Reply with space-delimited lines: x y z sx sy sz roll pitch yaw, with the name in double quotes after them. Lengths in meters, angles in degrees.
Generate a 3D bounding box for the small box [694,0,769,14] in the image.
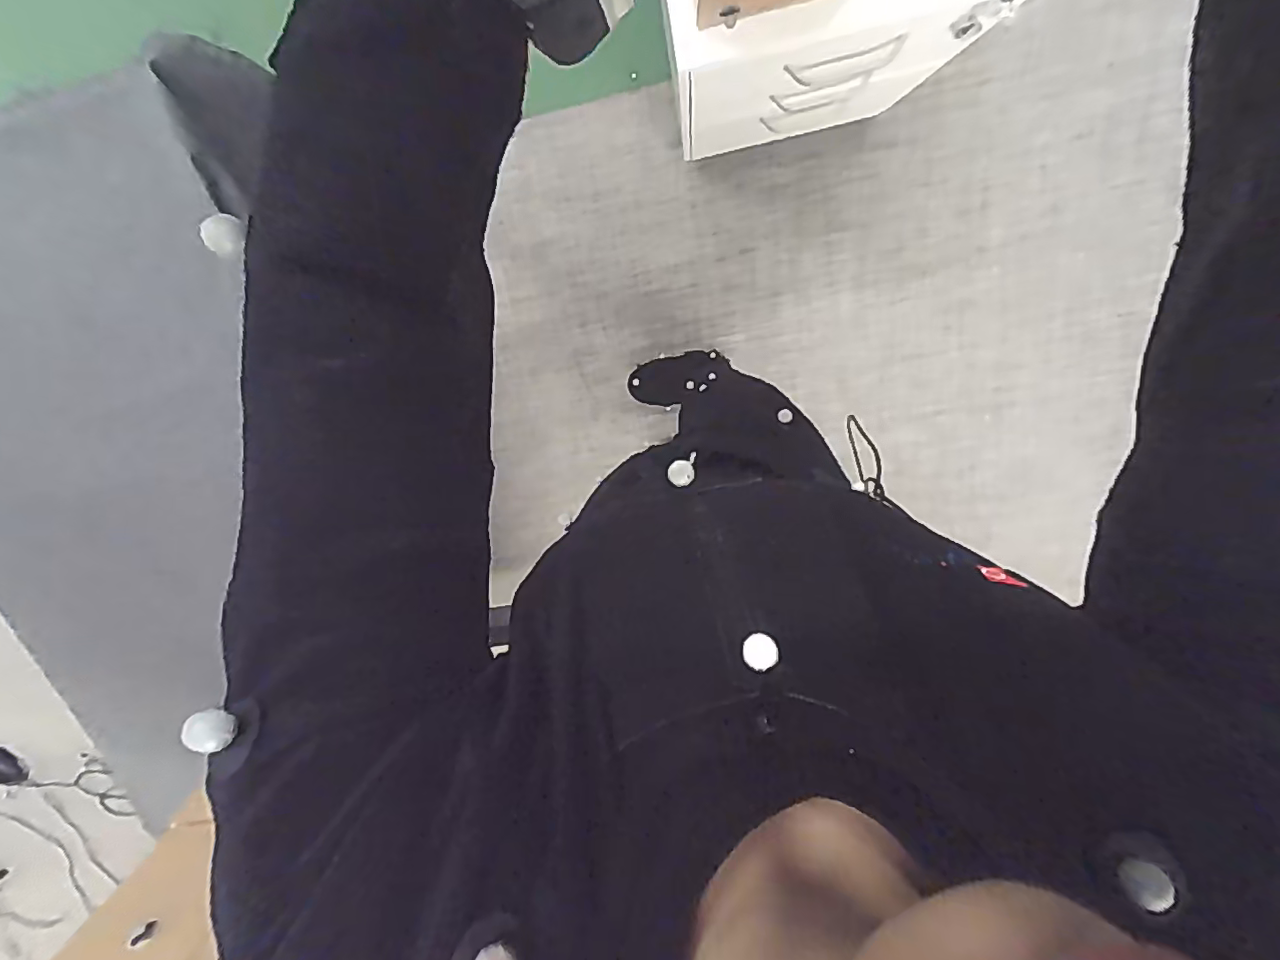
0.115 -0.540 0.457 0.168 0.176 0.179 -9 109 7 "small box"
